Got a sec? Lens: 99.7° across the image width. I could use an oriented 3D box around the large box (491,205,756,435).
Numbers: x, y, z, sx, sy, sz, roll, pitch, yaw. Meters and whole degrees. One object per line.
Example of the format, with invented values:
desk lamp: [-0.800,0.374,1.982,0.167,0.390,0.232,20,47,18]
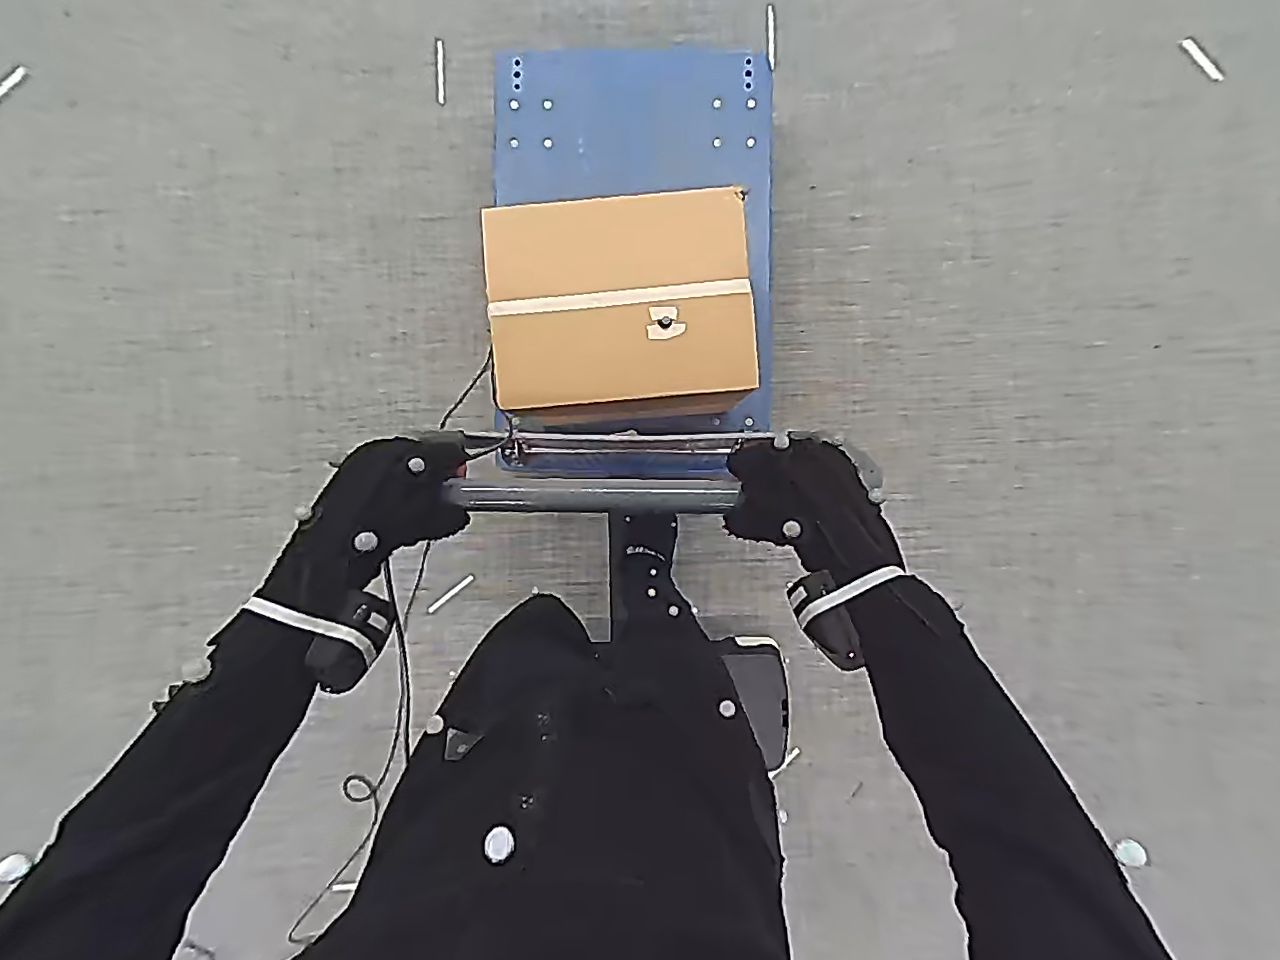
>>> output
large box: [-0.027,-0.266,1.004,0.408,0.320,0.320,-5,91,0]
